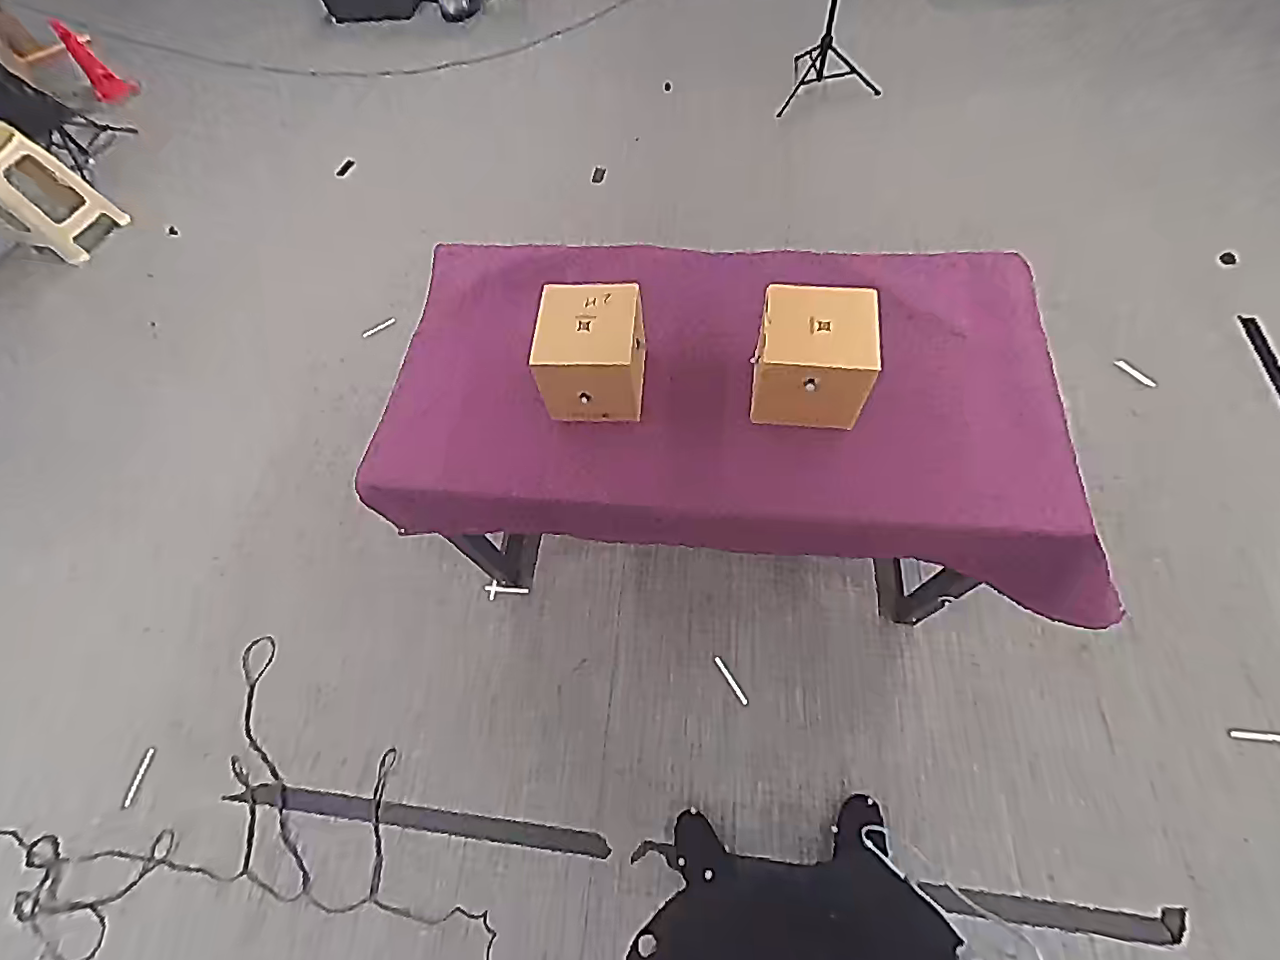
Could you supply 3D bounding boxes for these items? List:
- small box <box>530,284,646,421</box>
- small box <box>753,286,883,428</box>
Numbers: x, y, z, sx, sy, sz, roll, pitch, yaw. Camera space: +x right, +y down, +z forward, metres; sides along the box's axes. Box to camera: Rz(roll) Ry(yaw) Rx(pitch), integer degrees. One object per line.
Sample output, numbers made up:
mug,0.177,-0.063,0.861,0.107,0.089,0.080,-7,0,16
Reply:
small box,-0.080,-0.219,0.953,0.168,0.176,0.179,2,63,6
small box,0.292,-0.201,0.910,0.179,0.176,0.168,5,64,9
